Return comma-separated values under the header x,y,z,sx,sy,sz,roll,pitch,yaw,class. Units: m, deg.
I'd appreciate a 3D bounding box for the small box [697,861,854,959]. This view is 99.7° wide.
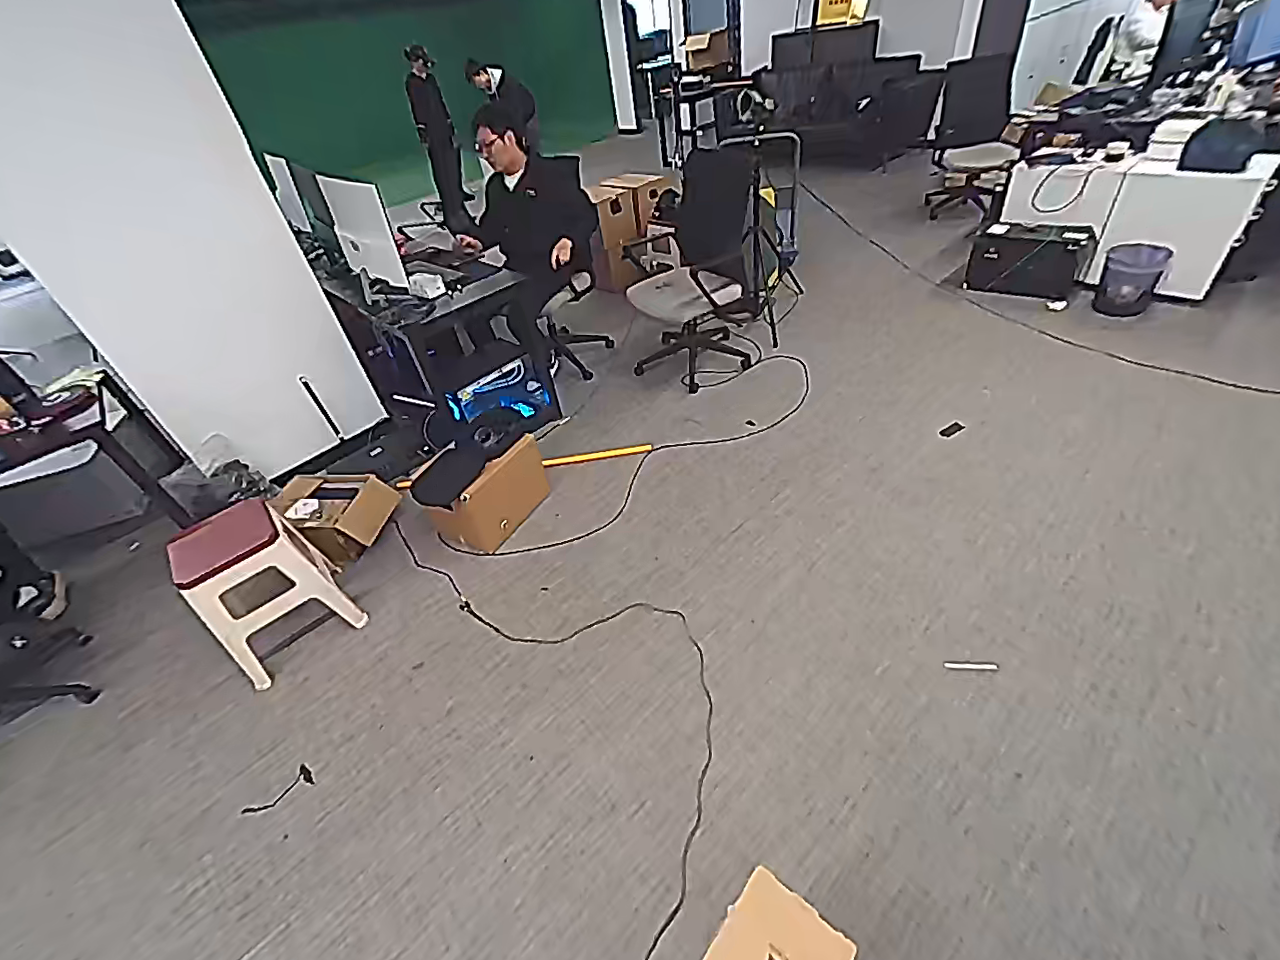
x,y,z,sx,sy,sz,roll,pitch,yaw,class
0.202,0.744,0.827,0.168,0.176,0.179,25,50,35,small box
